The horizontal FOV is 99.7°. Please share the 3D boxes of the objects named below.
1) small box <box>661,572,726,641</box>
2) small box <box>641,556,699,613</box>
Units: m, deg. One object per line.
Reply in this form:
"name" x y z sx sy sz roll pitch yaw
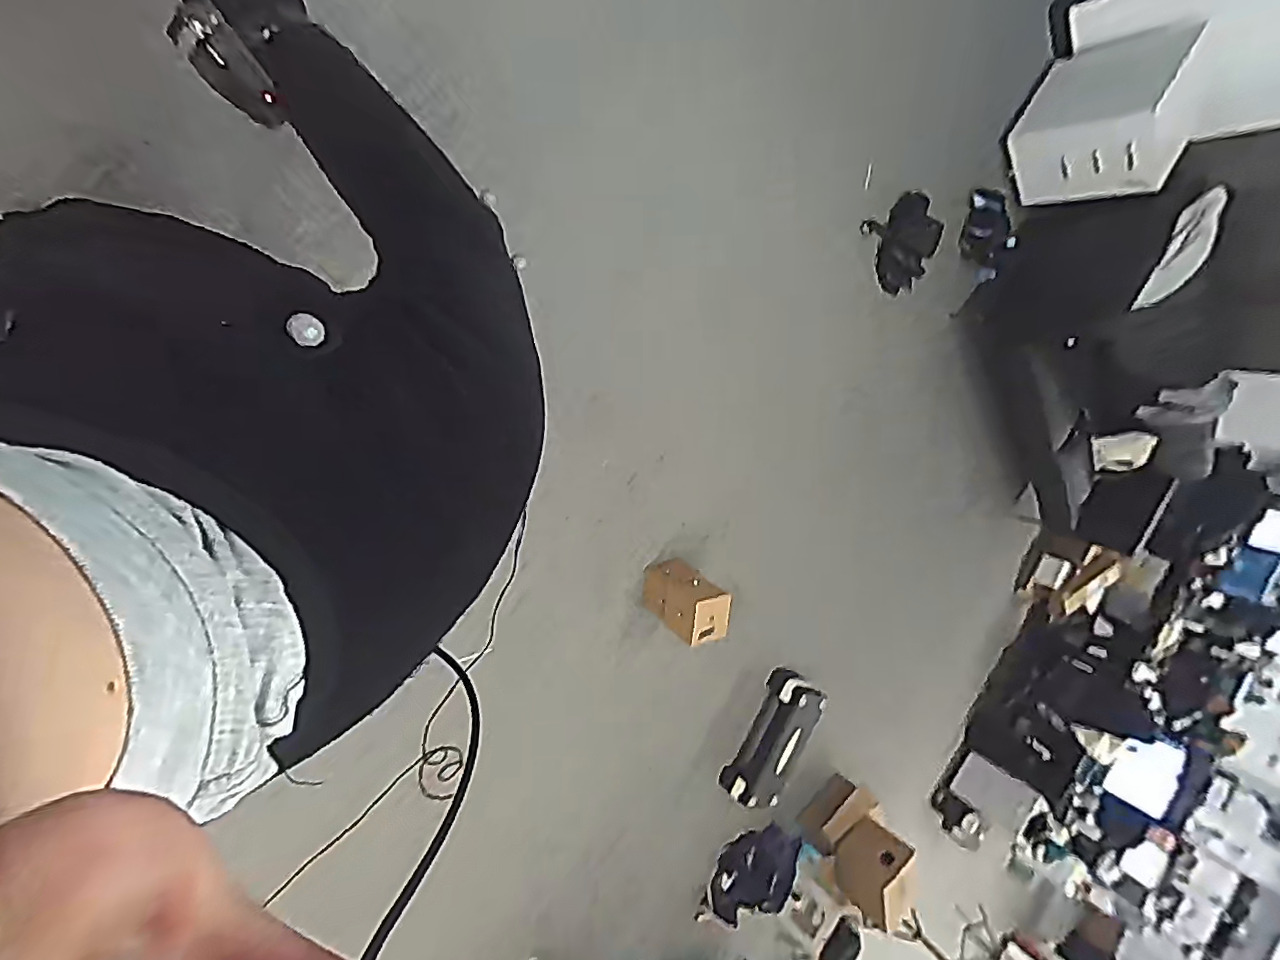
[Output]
"small box" 0.194 0.461 1.993 0.168 0.176 0.179 -6 107 -35
"small box" 0.115 0.416 2.132 0.168 0.176 0.179 -14 114 -31
